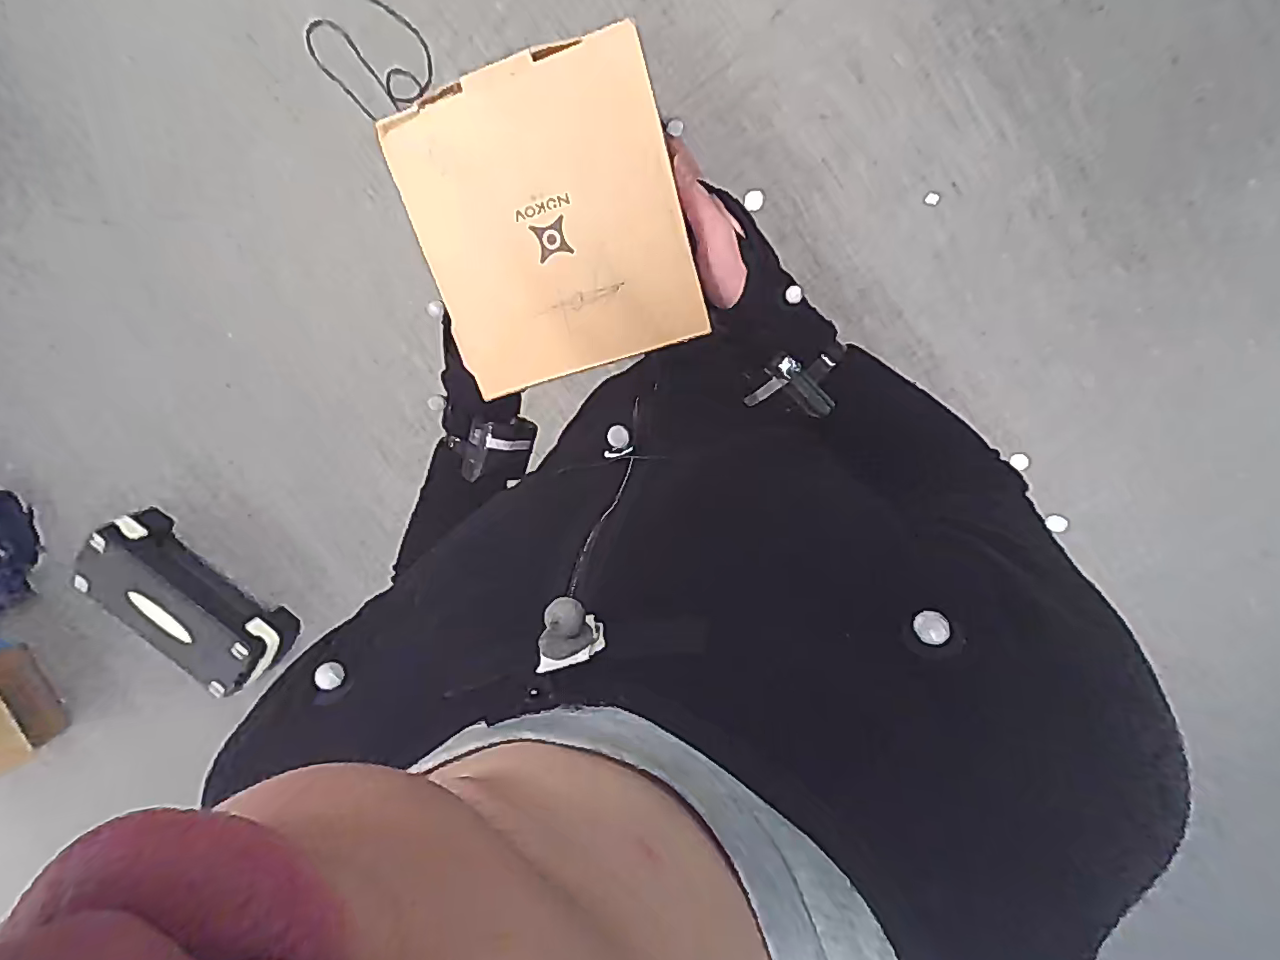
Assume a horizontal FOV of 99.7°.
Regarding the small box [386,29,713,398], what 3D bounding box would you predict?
[{"bbox_3d":[-0.047,-0.182,0.410,0.168,0.176,0.179,-14,111,11],"label":"small box"}]
